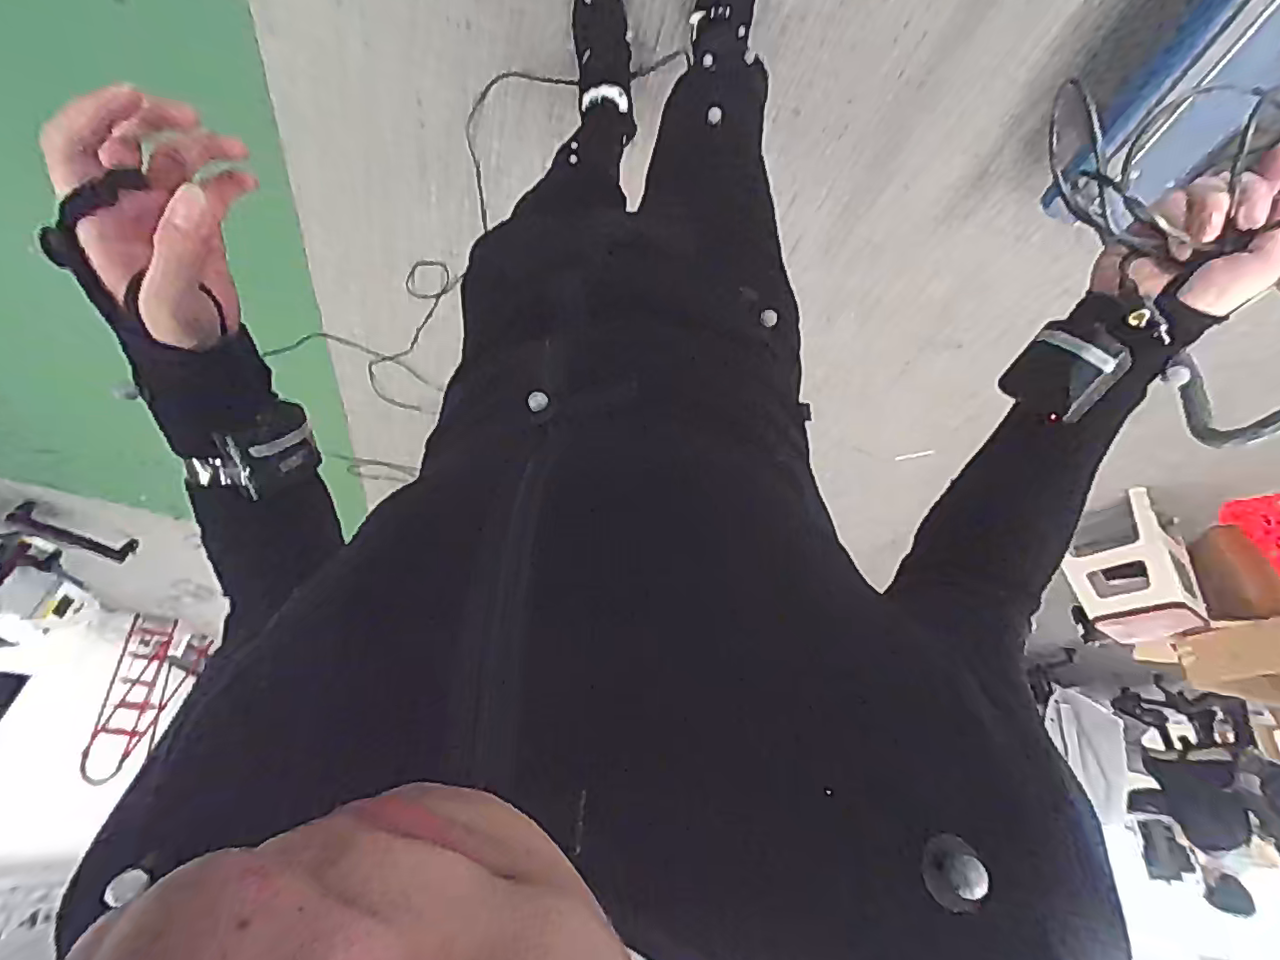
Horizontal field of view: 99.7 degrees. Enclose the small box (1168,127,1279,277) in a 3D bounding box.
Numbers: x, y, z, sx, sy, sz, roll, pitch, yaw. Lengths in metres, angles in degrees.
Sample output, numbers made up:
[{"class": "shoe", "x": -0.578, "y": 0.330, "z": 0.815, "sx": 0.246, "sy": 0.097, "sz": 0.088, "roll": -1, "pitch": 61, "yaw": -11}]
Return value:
[{"class": "small box", "x": 1.153, "y": -0.511, "z": 0.994, "sx": 0.179, "sy": 0.176, "sz": 0.168, "roll": 13, "pitch": 146, "yaw": -6}]
